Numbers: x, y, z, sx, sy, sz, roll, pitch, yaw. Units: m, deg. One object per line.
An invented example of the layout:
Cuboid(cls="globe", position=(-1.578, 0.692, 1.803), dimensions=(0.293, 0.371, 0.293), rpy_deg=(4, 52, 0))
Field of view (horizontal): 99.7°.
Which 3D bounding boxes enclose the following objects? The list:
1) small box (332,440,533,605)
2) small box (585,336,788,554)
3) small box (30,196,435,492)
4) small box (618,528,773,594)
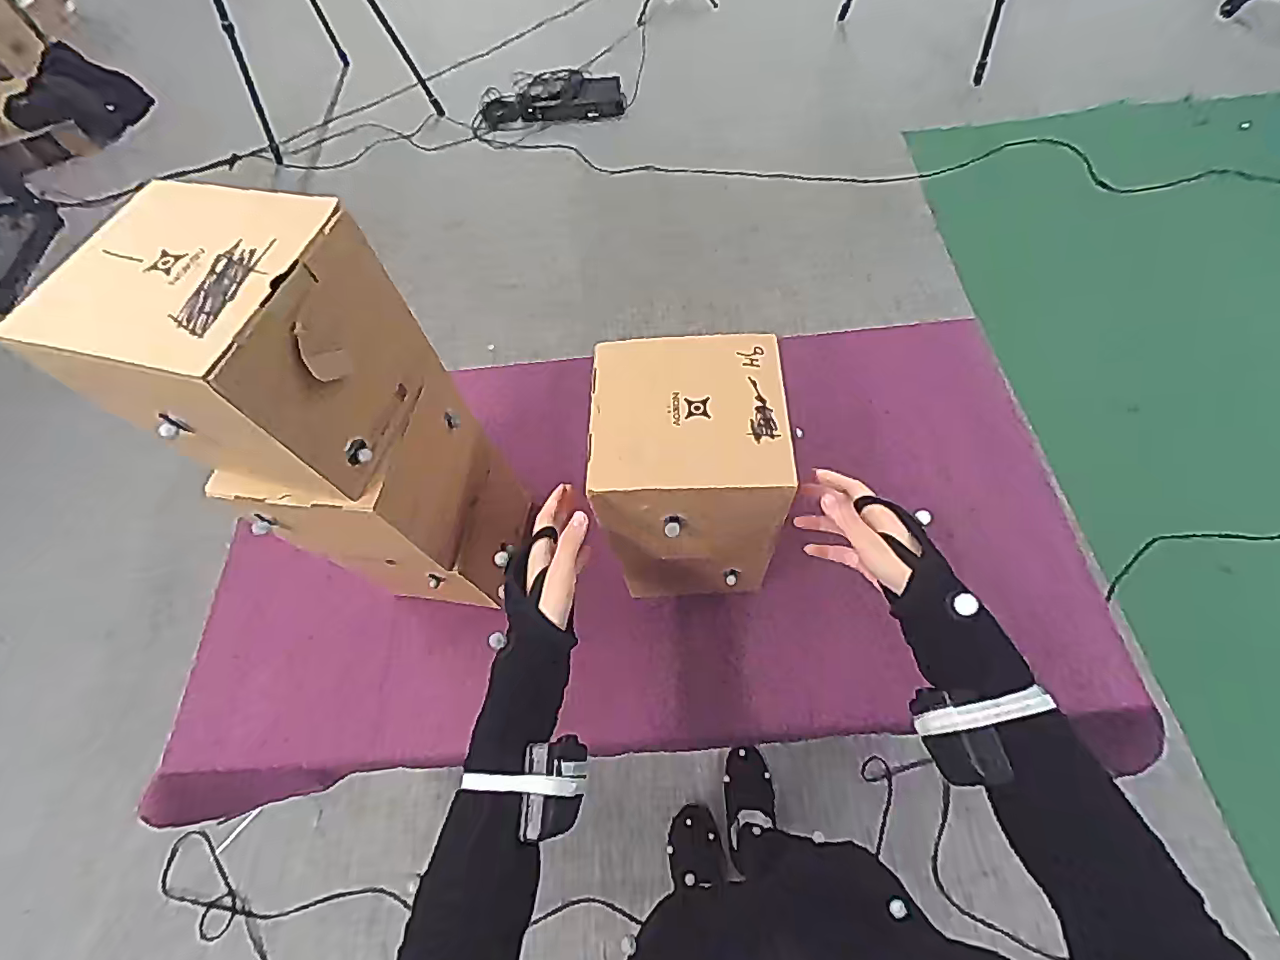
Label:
Cuboid(cls="small box", position=(-0.265, 0.063, 0.737), dimensions=(0.179, 0.176, 0.168), rpy_deg=(5, 62, 8))
Cuboid(cls="small box", position=(0.049, -0.027, 0.566), dimensions=(0.179, 0.176, 0.168), rpy_deg=(-2, 61, 5))
Cuboid(cls="small box", position=(-0.307, -0.106, 0.457), dimensions=(0.179, 0.176, 0.168), rpy_deg=(11, 62, 12))
Cuboid(cls="small box", position=(0.067, 0.045, 0.712), dimensions=(0.179, 0.176, 0.168), rpy_deg=(-4, 61, 4))
